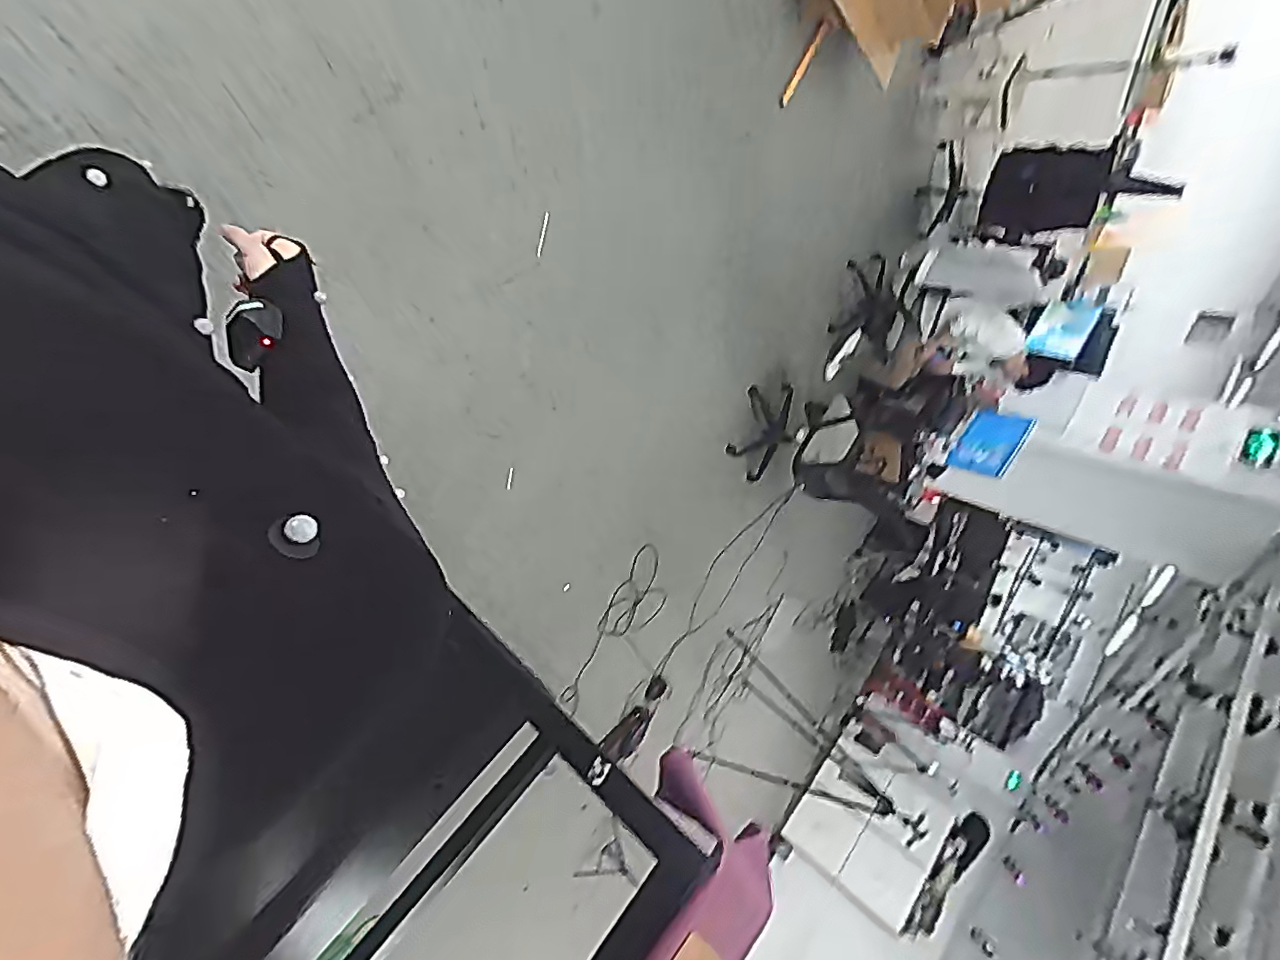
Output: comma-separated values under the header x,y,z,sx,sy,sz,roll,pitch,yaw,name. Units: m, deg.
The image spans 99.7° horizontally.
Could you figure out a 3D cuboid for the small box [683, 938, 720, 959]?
x,y,z,sx,sy,sz,roll,pitch,yaw,name
0.089,0.707,0.653,0.168,0.176,0.179,-42,139,-25,small box
